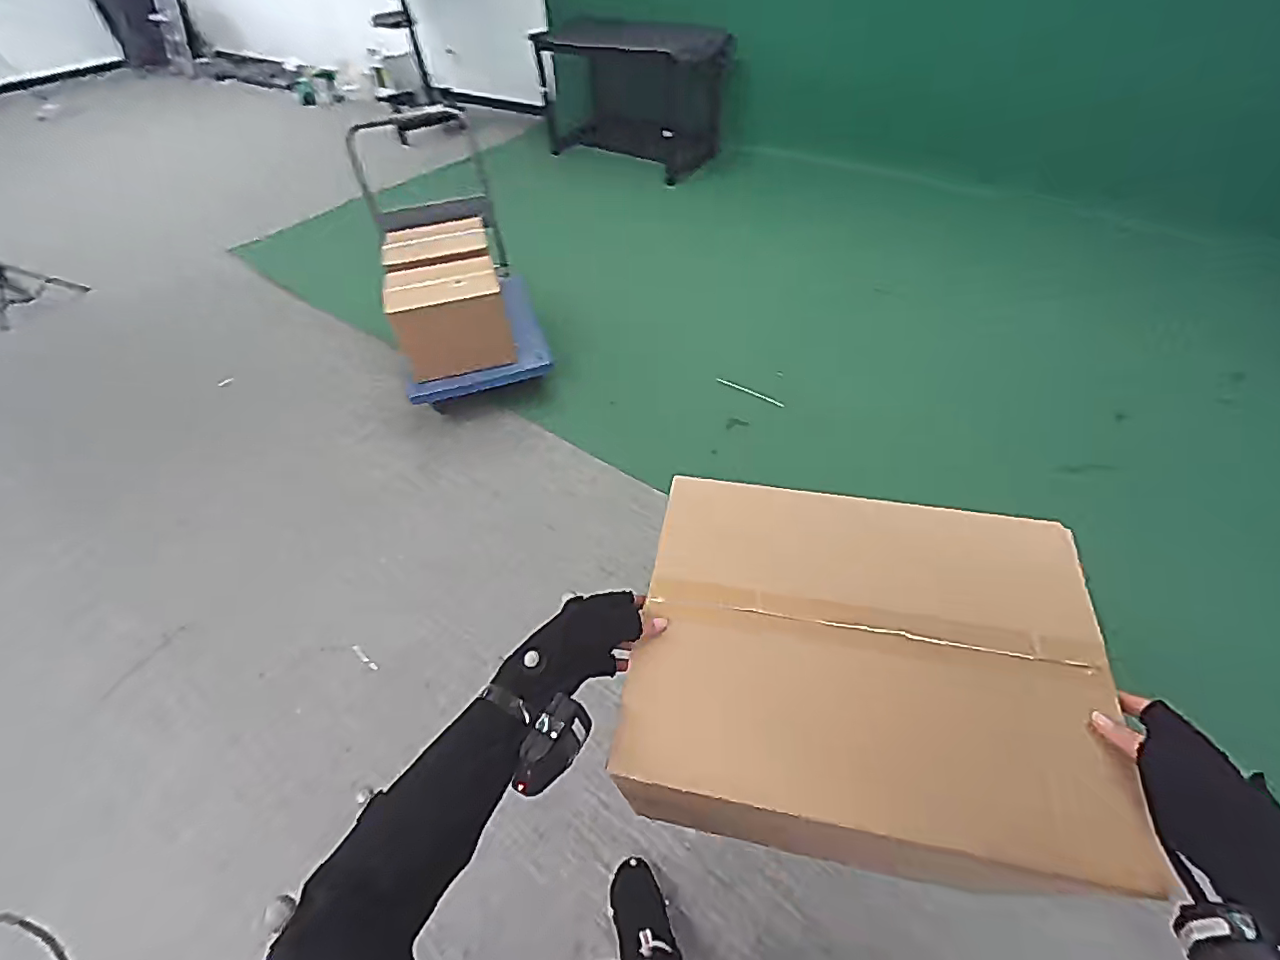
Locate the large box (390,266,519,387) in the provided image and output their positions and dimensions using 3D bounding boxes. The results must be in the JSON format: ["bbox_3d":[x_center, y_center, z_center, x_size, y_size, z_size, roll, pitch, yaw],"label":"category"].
[{"bbox_3d":[-0.721,-0.605,2.125,0.408,0.320,0.320,-13,47,-10],"label":"large box"}]
